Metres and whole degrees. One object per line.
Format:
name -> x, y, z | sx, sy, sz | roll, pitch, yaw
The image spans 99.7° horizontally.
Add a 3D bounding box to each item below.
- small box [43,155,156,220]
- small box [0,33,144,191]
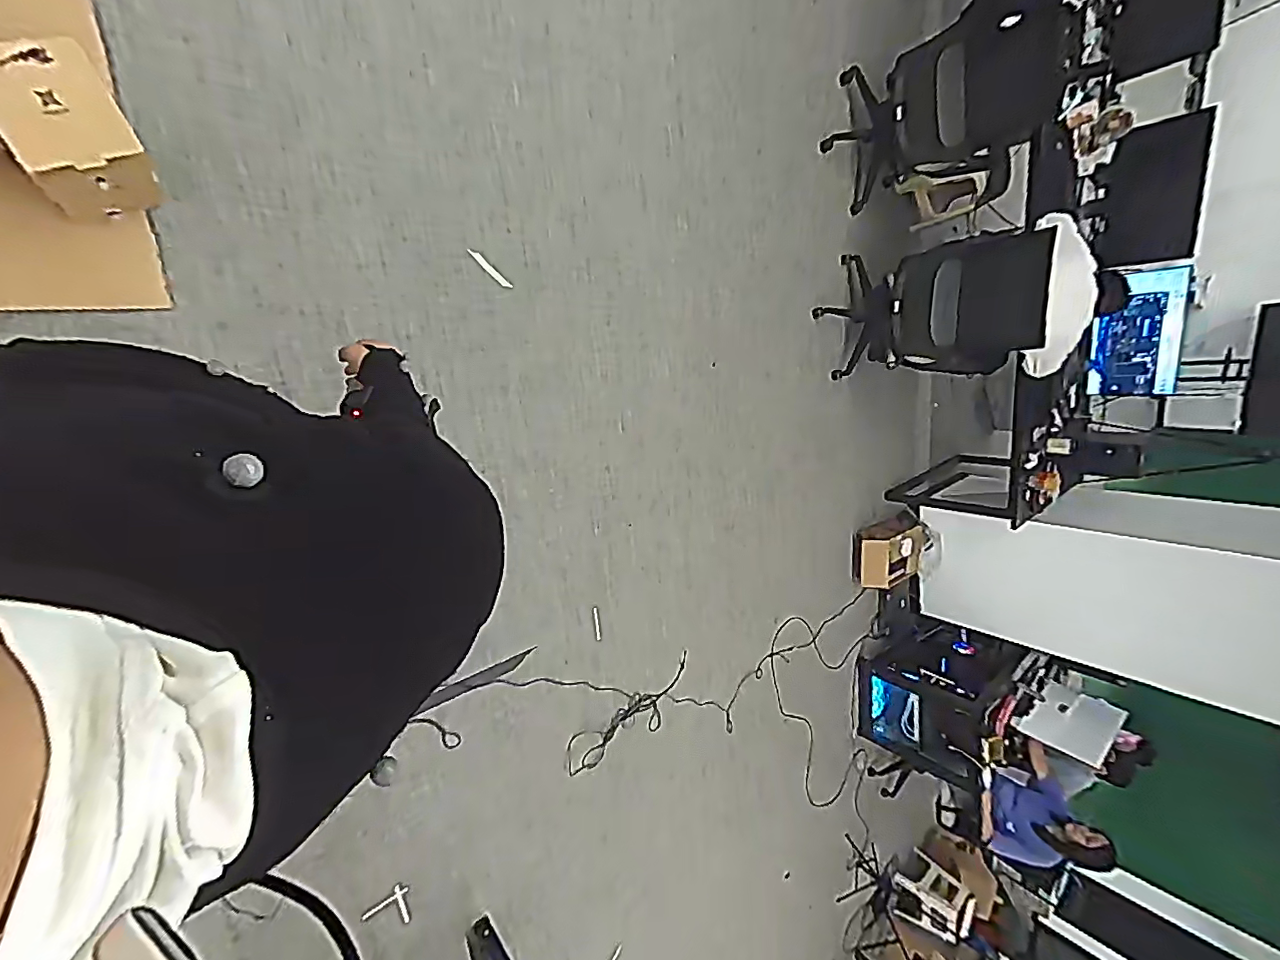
small box -> -1.094, -0.636, 1.052 | 0.168, 0.176, 0.179 | -37, 118, -28
small box -> -0.997, -0.614, 0.922 | 0.168, 0.176, 0.179 | -35, 118, -29
